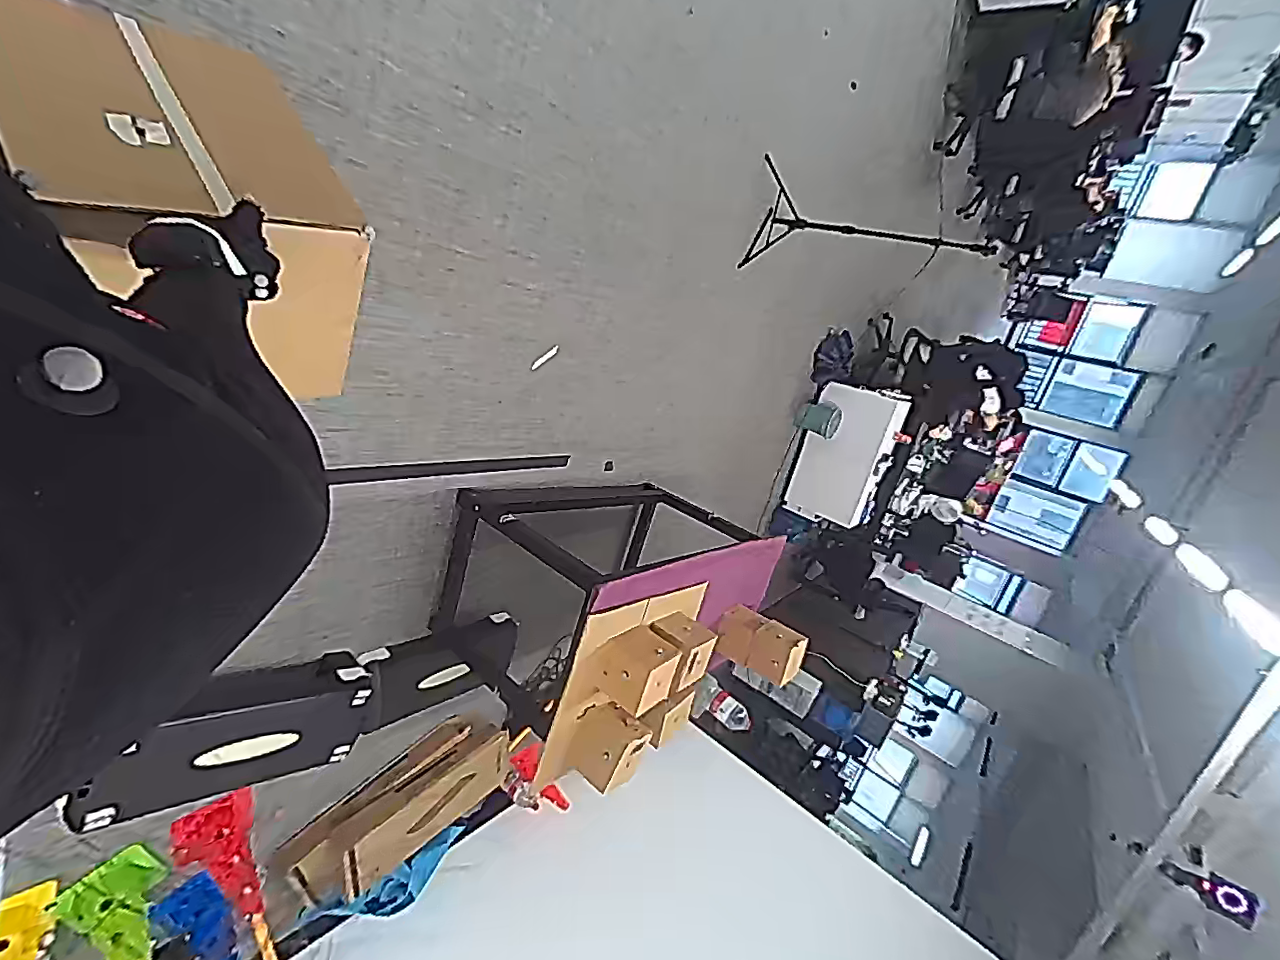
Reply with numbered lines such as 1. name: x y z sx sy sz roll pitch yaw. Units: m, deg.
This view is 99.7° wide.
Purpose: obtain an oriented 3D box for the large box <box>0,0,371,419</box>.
1. large box: -0.641 -0.351 0.753 0.320 0.408 0.320 -20 160 -44
